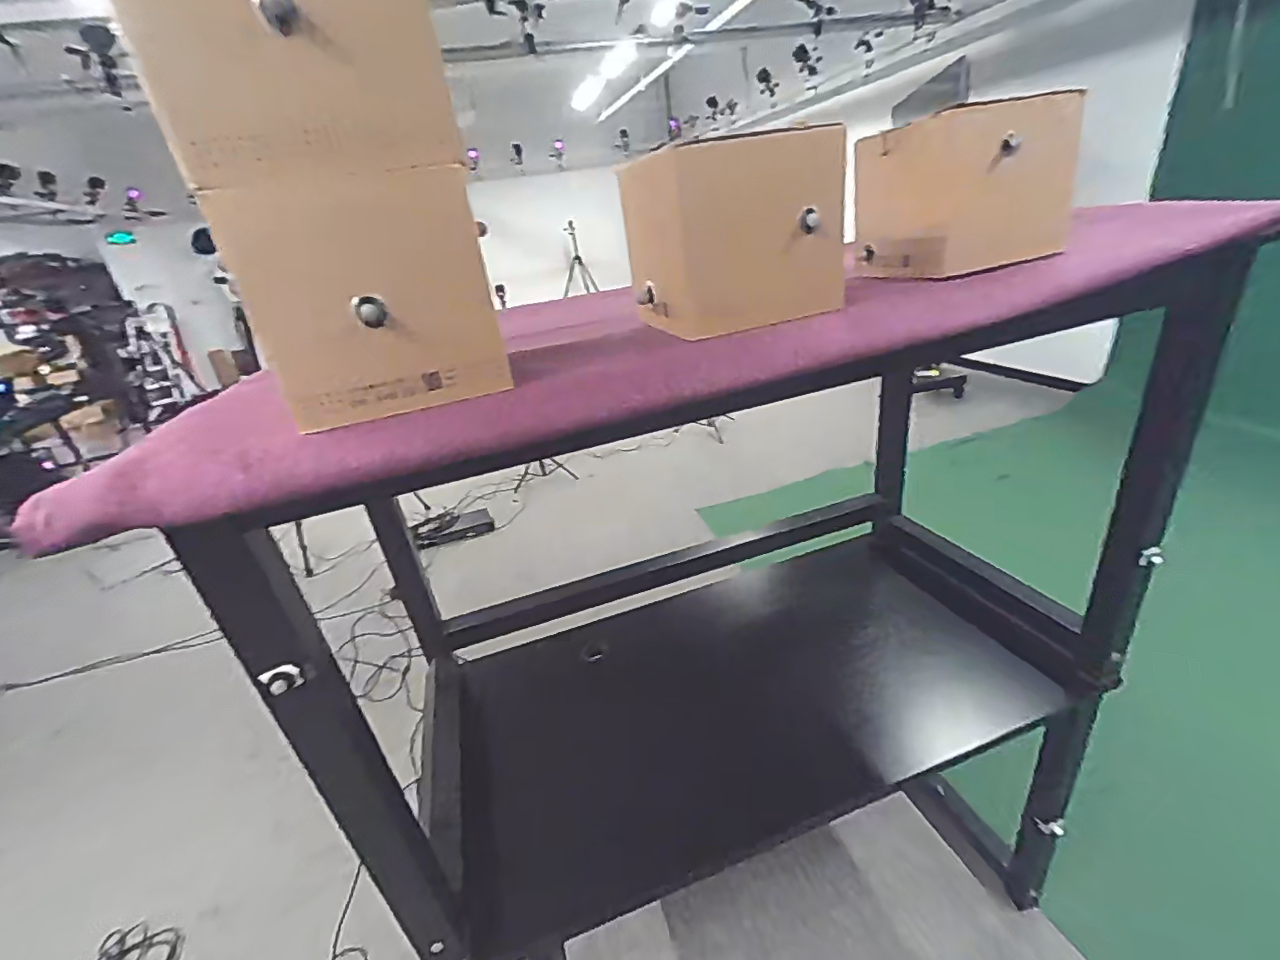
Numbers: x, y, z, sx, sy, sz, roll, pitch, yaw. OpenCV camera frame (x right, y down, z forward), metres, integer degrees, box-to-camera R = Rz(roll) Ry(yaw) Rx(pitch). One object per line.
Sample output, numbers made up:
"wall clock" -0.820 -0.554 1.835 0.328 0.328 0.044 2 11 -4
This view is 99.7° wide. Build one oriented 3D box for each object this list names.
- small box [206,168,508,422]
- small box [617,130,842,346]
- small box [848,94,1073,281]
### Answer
"small box" -0.221 -0.159 0.472 0.168 0.176 0.179 -15 26 -15
"small box" 0.090 -0.253 0.578 0.179 0.176 0.168 -16 26 -14
"small box" 0.385 -0.348 0.673 0.179 0.176 0.168 -15 24 -11
